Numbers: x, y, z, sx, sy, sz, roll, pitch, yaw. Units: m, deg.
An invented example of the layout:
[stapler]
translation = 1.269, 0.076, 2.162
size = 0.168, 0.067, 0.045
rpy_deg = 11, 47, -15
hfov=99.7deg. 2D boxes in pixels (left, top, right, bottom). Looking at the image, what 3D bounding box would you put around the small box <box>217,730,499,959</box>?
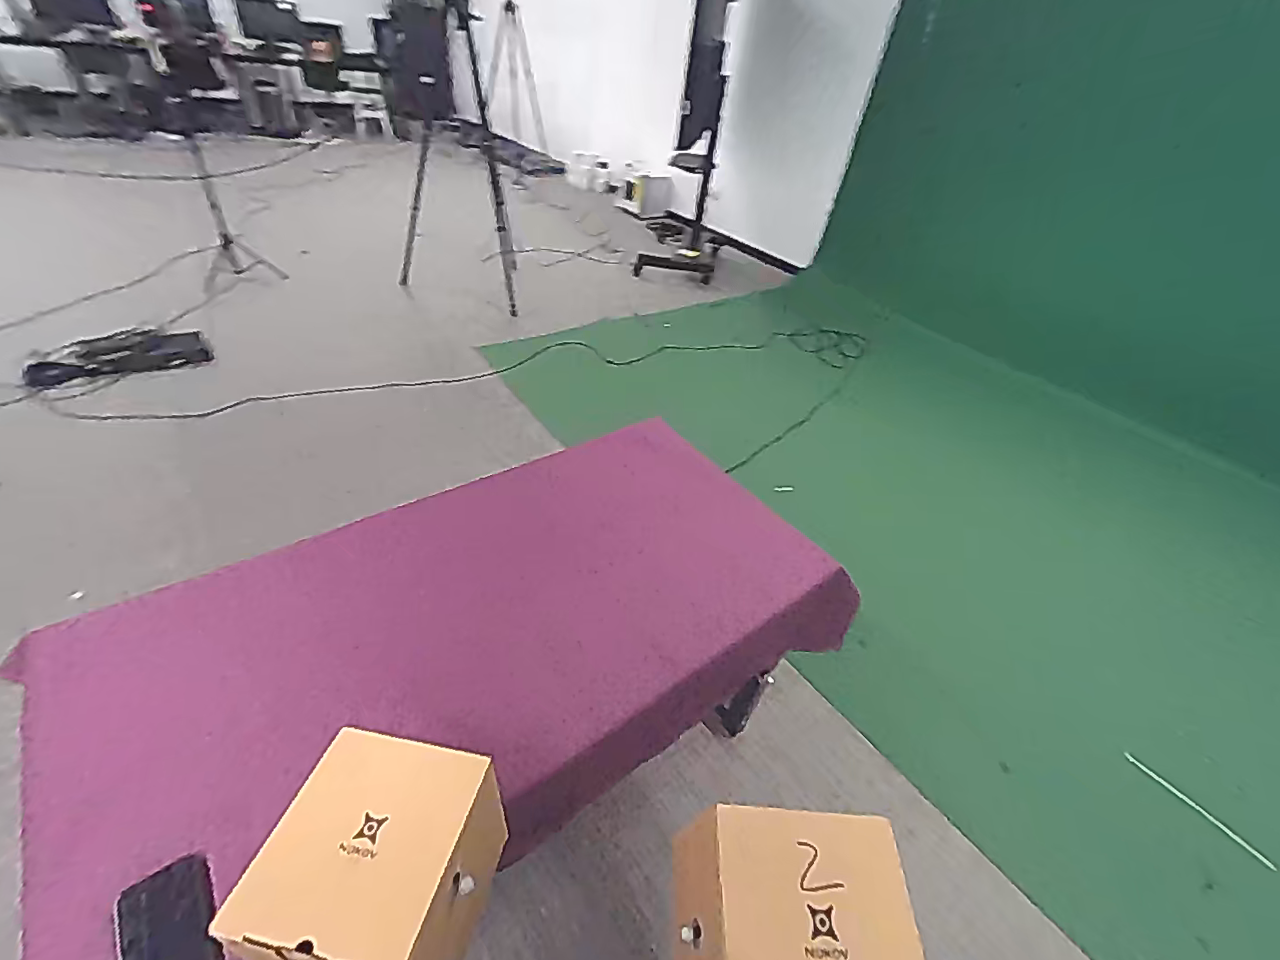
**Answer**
[small box]
translation = -0.250, 0.388, 0.536
size = 0.168, 0.176, 0.179
rpy_deg = 8, 36, 7
